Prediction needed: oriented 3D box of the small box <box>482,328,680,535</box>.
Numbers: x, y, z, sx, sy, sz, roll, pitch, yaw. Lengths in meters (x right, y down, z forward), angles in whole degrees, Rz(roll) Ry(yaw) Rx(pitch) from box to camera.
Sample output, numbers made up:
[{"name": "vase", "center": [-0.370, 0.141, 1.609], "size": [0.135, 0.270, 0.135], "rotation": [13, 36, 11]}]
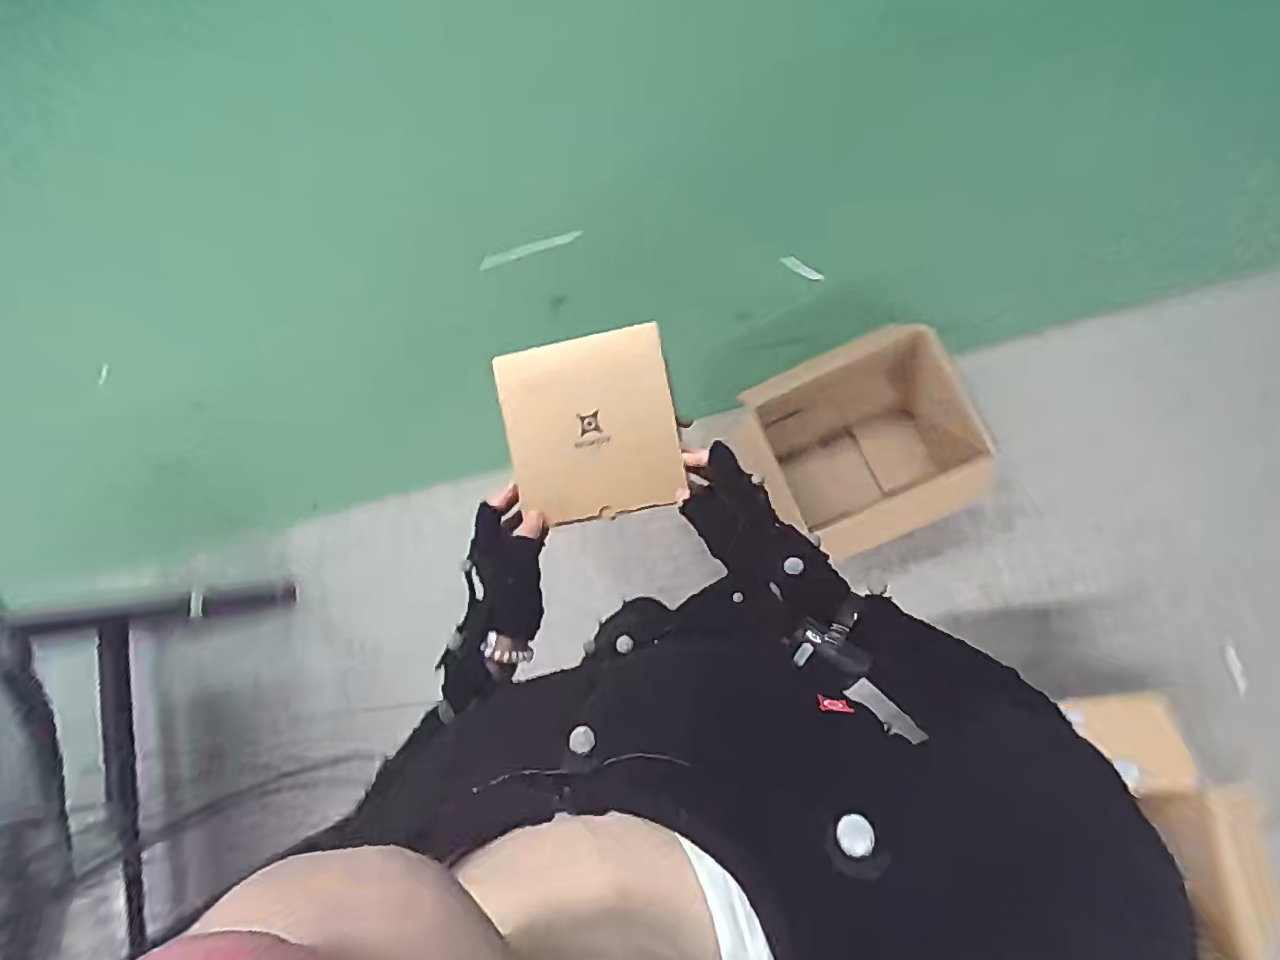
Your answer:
[{"name": "small box", "center": [-0.054, -0.048, 0.601], "size": [0.168, 0.176, 0.179], "rotation": [-12, 92, 5]}]
